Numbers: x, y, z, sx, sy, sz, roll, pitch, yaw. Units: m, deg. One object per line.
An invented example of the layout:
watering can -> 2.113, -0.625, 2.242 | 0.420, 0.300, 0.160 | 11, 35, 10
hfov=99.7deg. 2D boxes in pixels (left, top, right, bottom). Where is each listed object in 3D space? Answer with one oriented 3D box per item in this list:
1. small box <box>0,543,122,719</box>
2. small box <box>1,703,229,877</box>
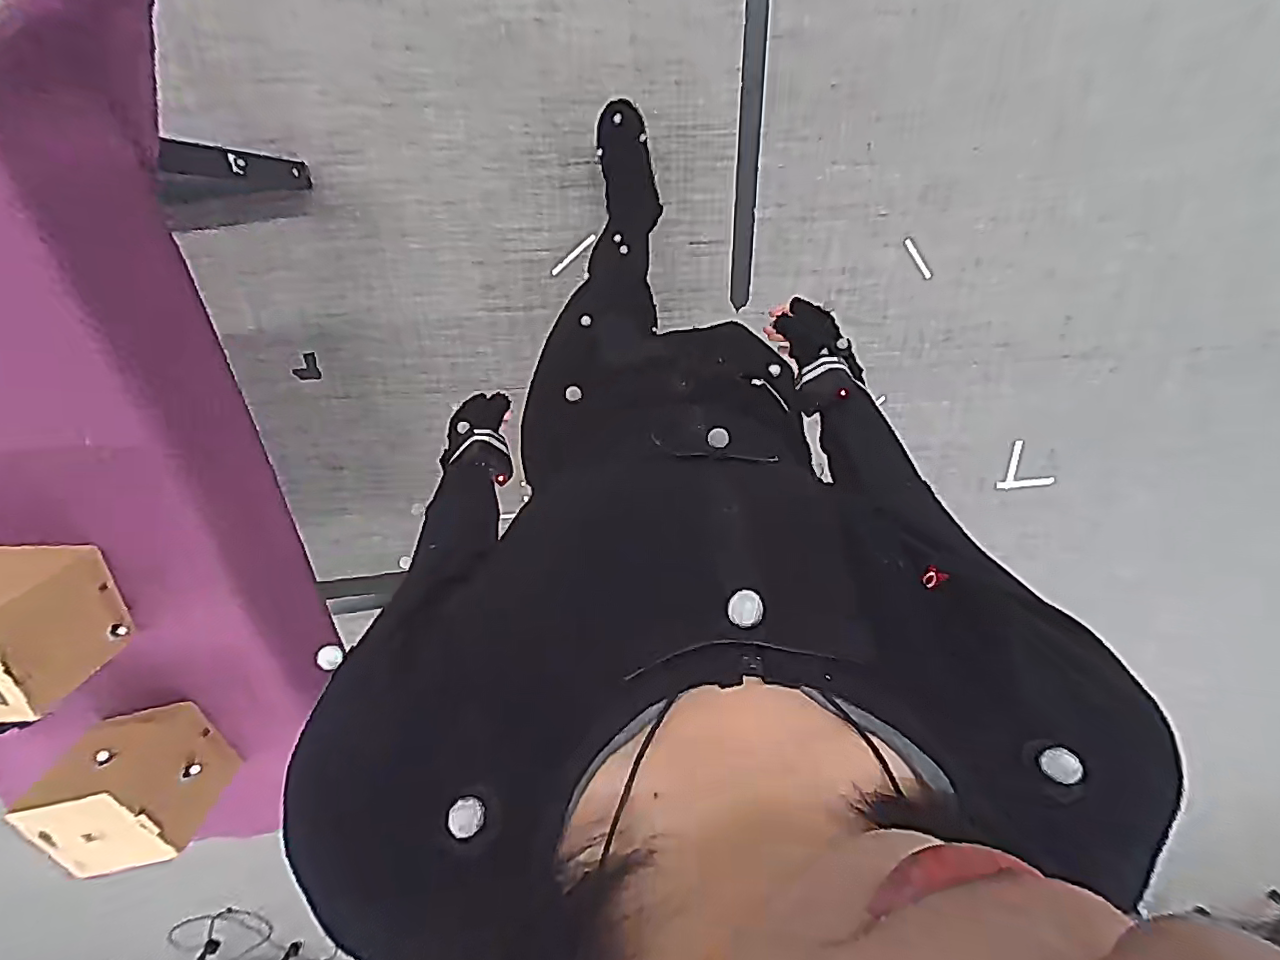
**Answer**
small box -> -0.867, 0.197, 0.732 | 0.179, 0.176, 0.168 | 1, 115, -2
small box -> -0.817, 0.491, 0.873 | 0.179, 0.176, 0.168 | -14, 115, 3
